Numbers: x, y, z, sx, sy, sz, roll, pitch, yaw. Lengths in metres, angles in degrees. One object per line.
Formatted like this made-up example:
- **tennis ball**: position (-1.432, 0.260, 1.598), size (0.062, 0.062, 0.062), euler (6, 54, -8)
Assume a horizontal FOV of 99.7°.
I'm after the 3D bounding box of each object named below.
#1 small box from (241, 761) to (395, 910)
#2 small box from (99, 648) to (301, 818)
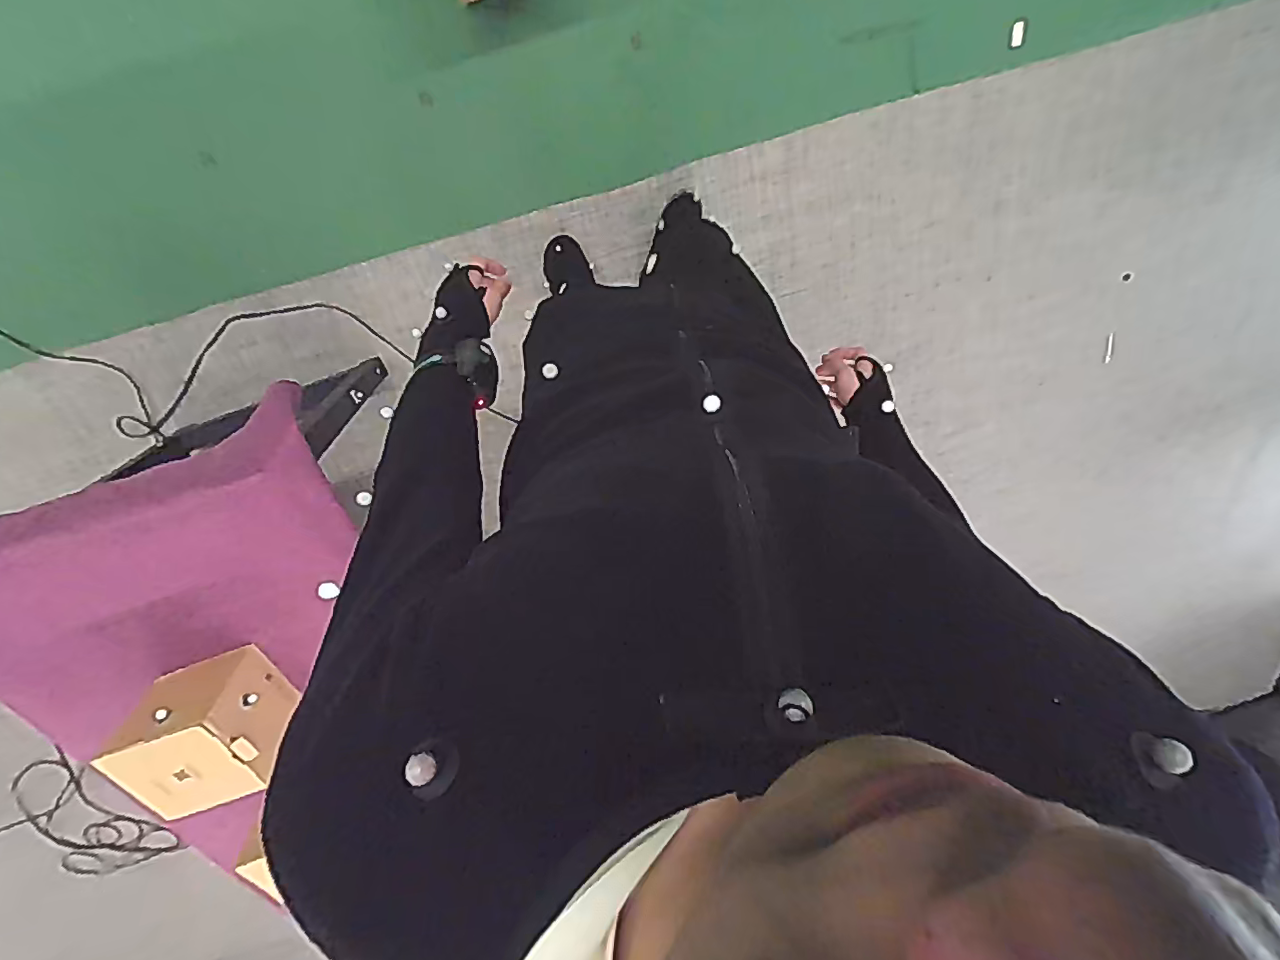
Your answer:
- **small box**: position (-0.607, 0.674, 1.046), size (0.168, 0.176, 0.179), euler (-20, 119, 0)
- **small box**: position (-0.699, 0.408, 0.894), size (0.179, 0.176, 0.168), euler (-19, 118, 0)
